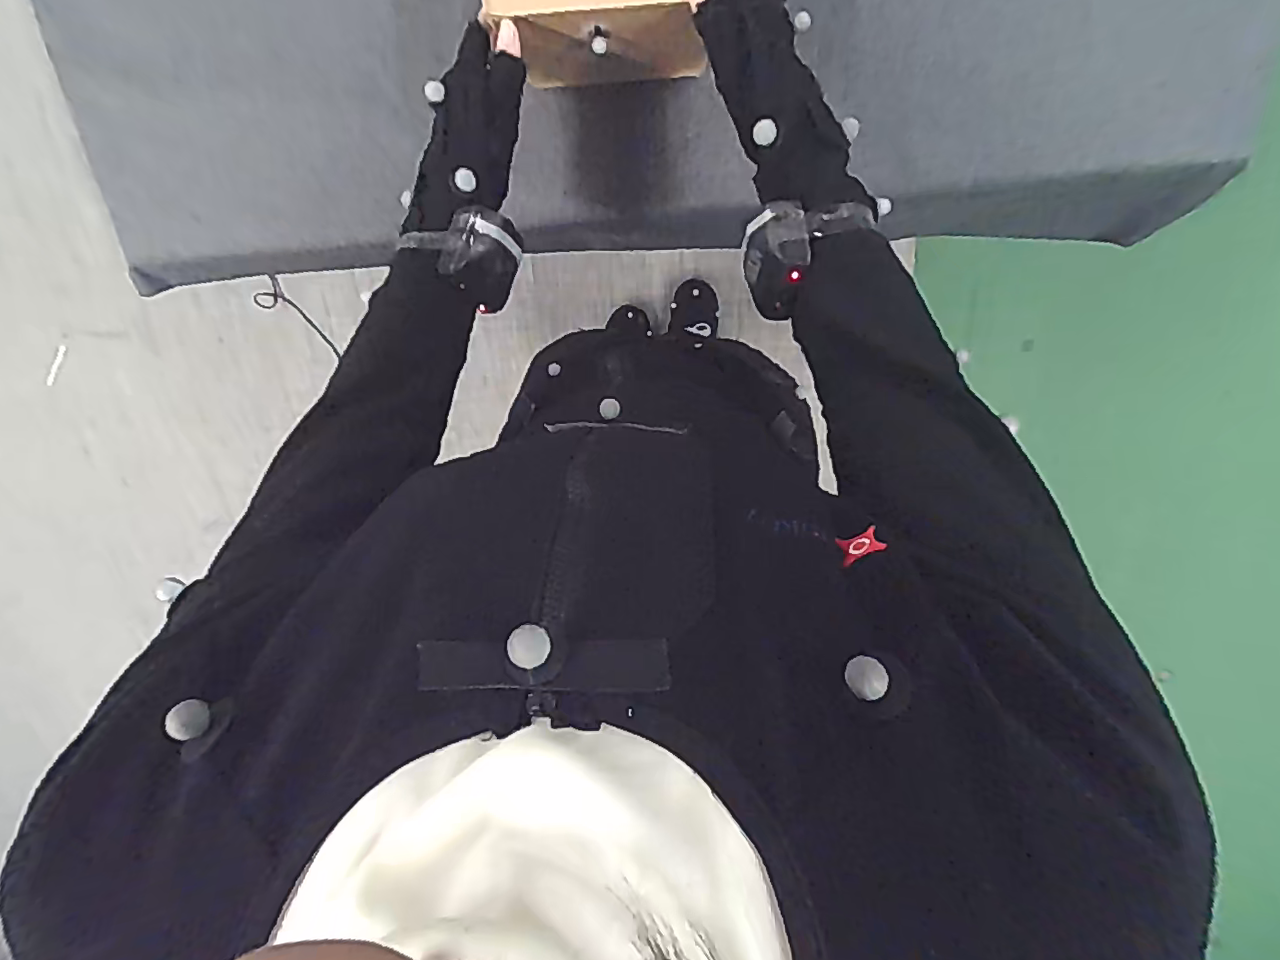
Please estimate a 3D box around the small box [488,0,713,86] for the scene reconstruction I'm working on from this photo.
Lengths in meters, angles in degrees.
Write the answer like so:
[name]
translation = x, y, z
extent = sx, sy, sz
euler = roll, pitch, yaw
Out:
[small box]
translation = -0.027, -0.457, 0.453
extent = 0.179, 0.176, 0.168
euler = -2, 111, 4
